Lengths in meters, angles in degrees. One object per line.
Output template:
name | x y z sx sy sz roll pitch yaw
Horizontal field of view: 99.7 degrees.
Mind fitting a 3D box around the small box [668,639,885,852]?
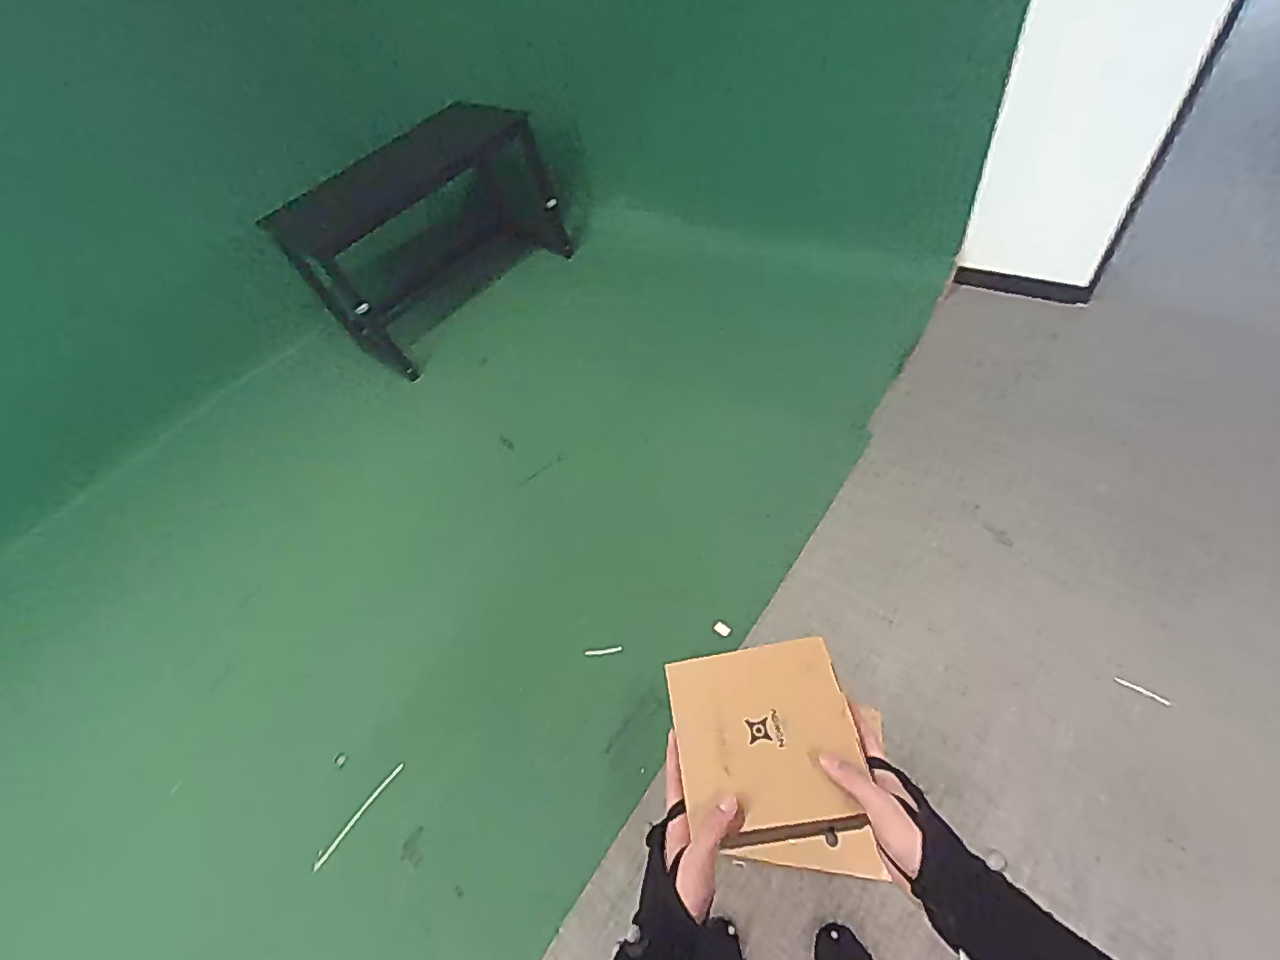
small box | 0.137 0.293 0.588 0.179 0.176 0.168 -12 51 5
